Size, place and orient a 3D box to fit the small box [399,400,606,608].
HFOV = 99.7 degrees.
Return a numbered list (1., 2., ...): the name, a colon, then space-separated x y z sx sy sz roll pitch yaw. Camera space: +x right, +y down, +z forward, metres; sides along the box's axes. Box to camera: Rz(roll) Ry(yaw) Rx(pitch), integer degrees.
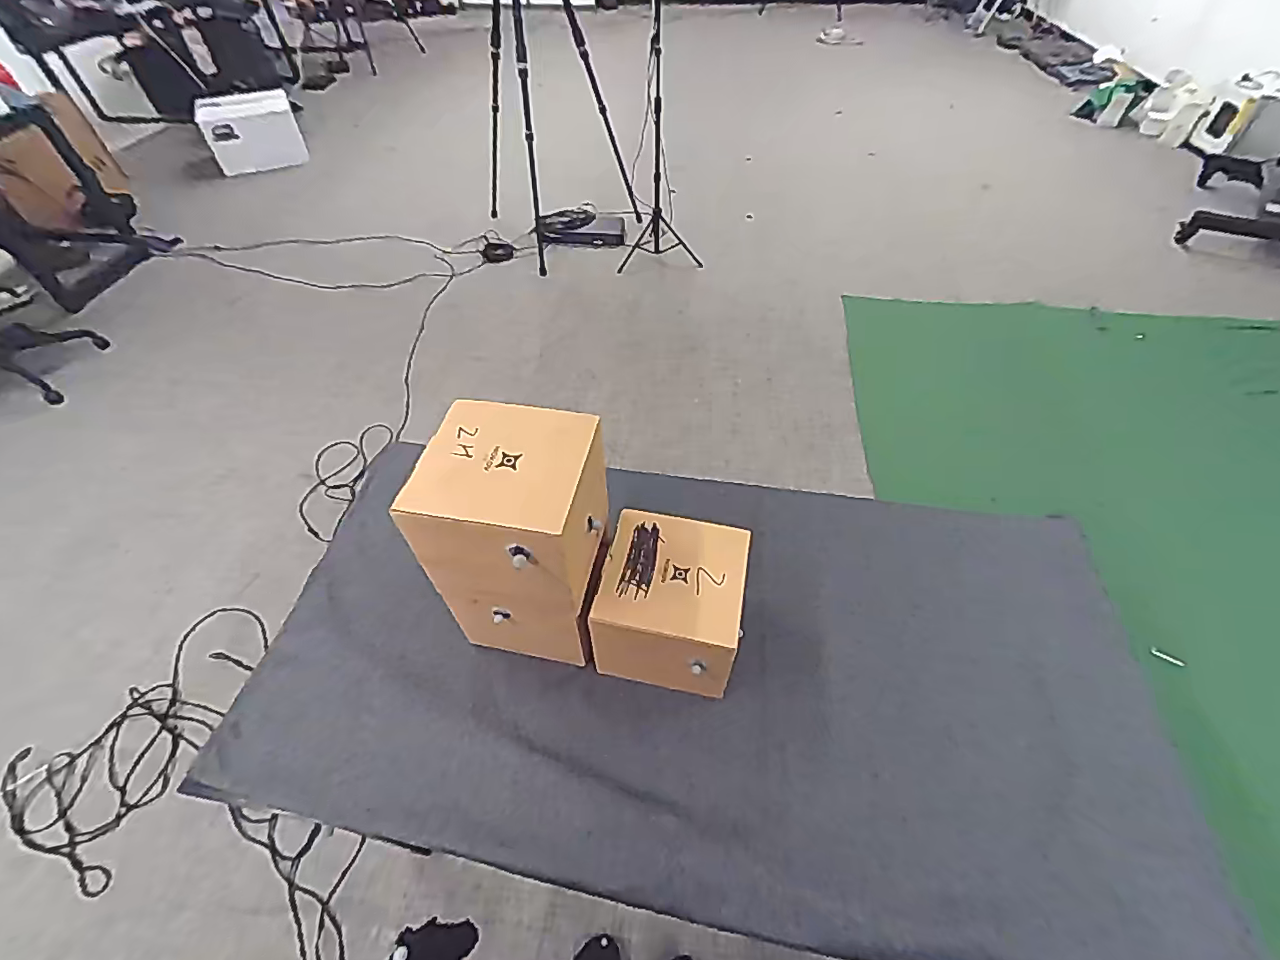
1. small box: -0.140 0.032 0.634 0.179 0.176 0.168 8 49 6
